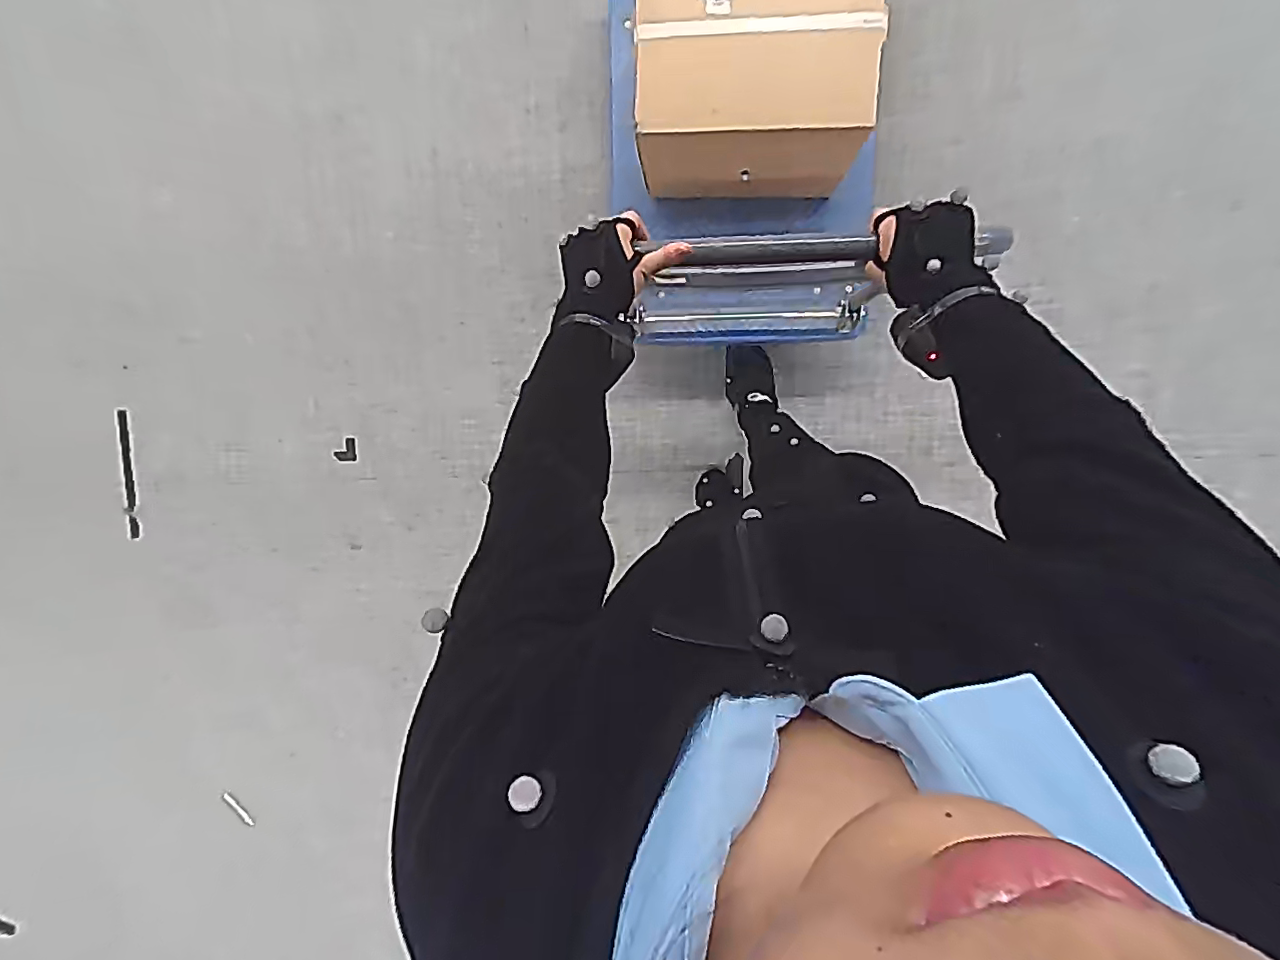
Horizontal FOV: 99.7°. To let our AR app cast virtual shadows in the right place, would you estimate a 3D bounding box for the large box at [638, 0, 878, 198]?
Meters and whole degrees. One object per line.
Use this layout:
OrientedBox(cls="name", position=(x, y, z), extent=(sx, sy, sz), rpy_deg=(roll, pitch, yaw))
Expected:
OrientedBox(cls="large box", position=(0.213, -0.774, 1.058), extent=(0.408, 0.320, 0.320), rpy_deg=(2, 97, 7))
